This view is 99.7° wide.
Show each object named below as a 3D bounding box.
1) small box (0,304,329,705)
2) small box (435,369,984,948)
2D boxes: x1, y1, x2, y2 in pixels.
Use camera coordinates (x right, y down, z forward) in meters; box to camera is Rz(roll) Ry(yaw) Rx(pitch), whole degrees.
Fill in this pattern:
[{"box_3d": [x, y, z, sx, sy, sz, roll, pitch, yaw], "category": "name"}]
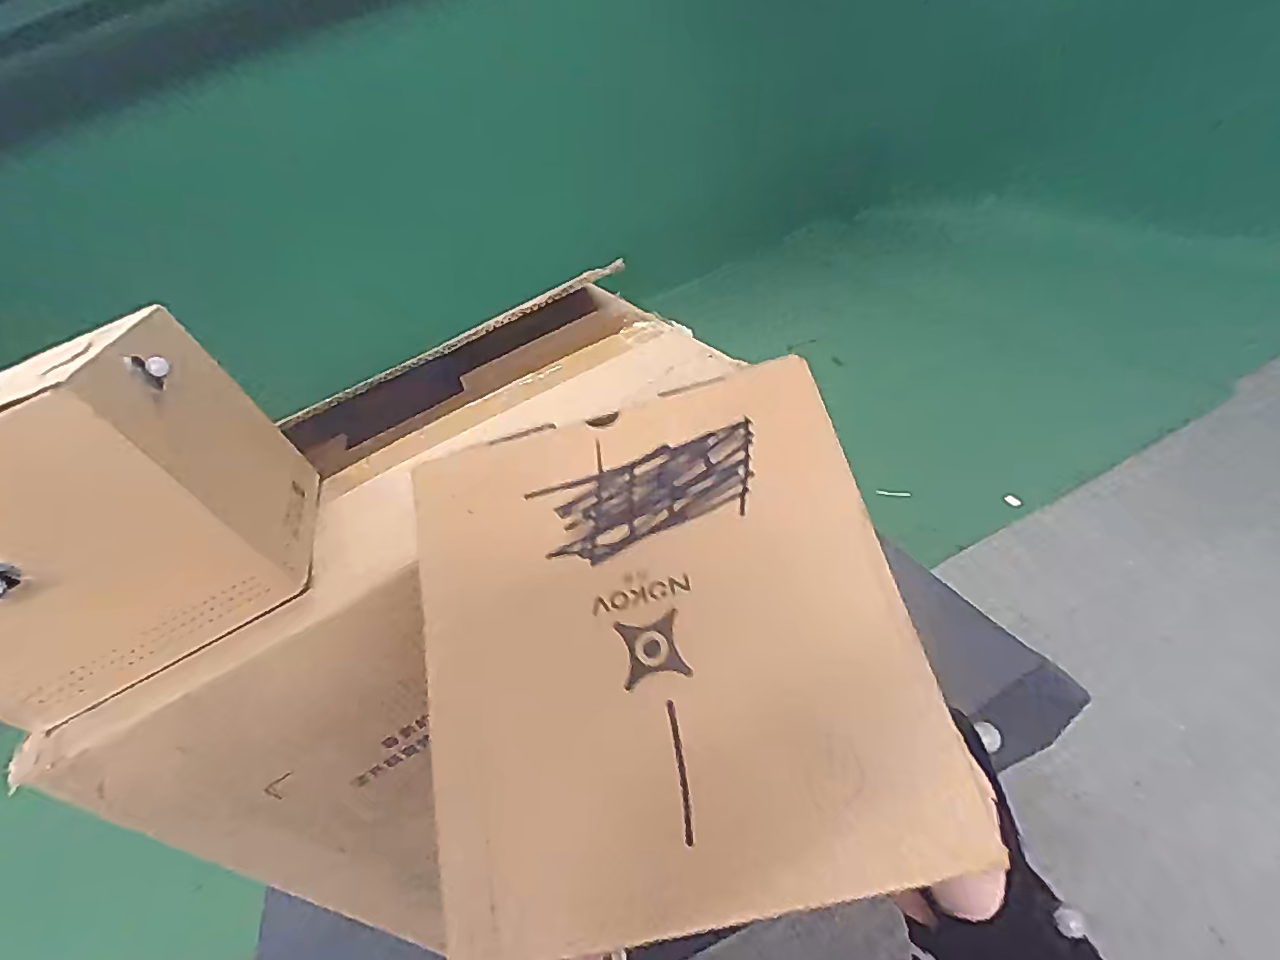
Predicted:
[{"box_3d": [-0.351, 0.014, 0.365, 0.179, 0.176, 0.168, -31, 39, -7], "category": "small box"}, {"box_3d": [0.019, 0.078, 0.269, 0.168, 0.176, 0.179, -15, 68, 5], "category": "small box"}]
